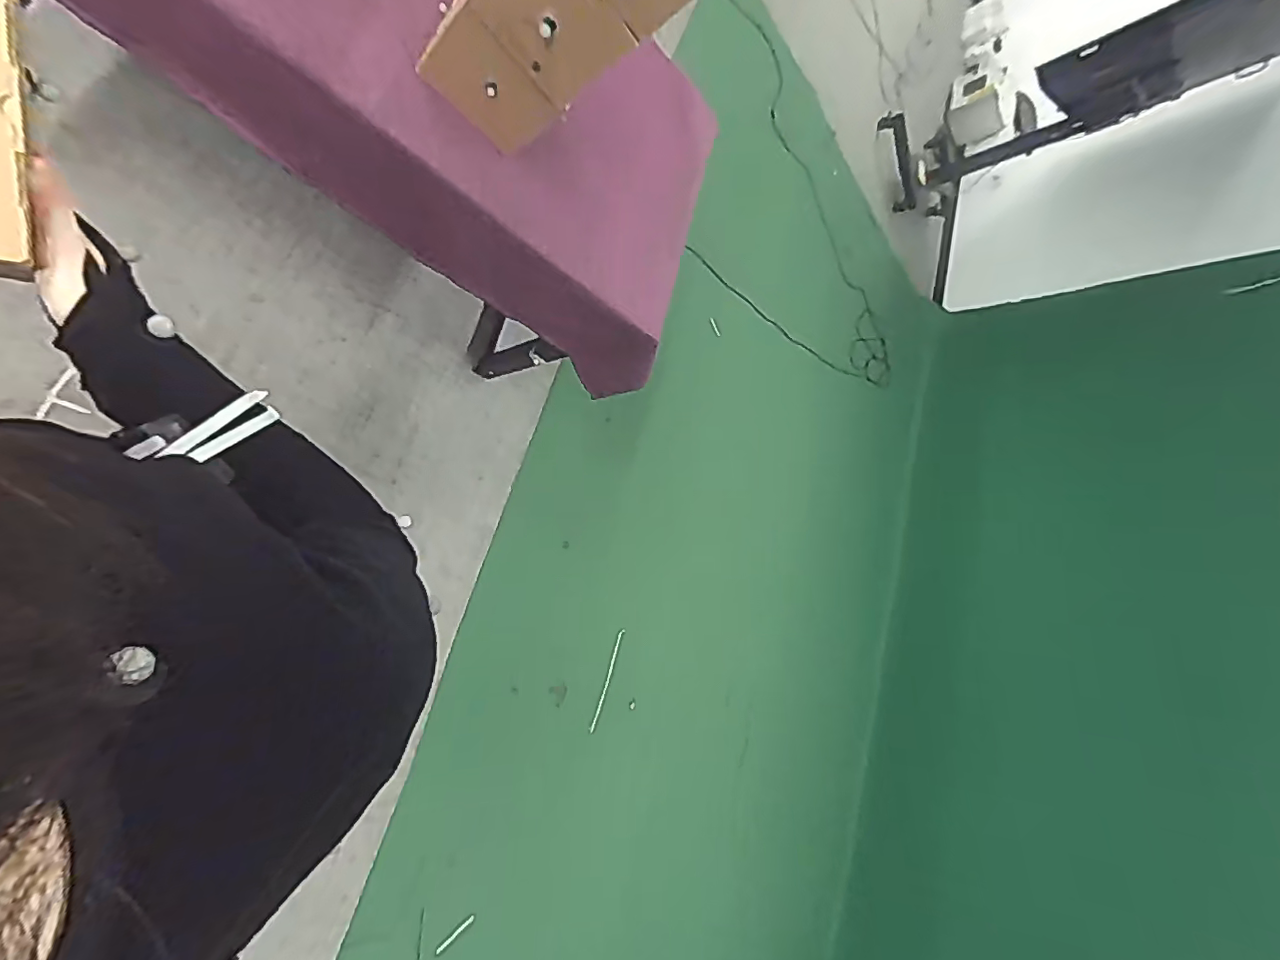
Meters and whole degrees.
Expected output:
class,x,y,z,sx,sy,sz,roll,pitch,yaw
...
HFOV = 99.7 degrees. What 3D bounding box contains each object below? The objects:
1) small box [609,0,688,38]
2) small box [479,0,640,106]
class,x,y,z,sx,sy,sz,roll,pitch,yaw
small box,0.026,-0.645,0.583,0.168,0.176,0.179,33,67,-39
small box,-0.088,-0.644,0.704,0.168,0.176,0.179,34,67,-39
